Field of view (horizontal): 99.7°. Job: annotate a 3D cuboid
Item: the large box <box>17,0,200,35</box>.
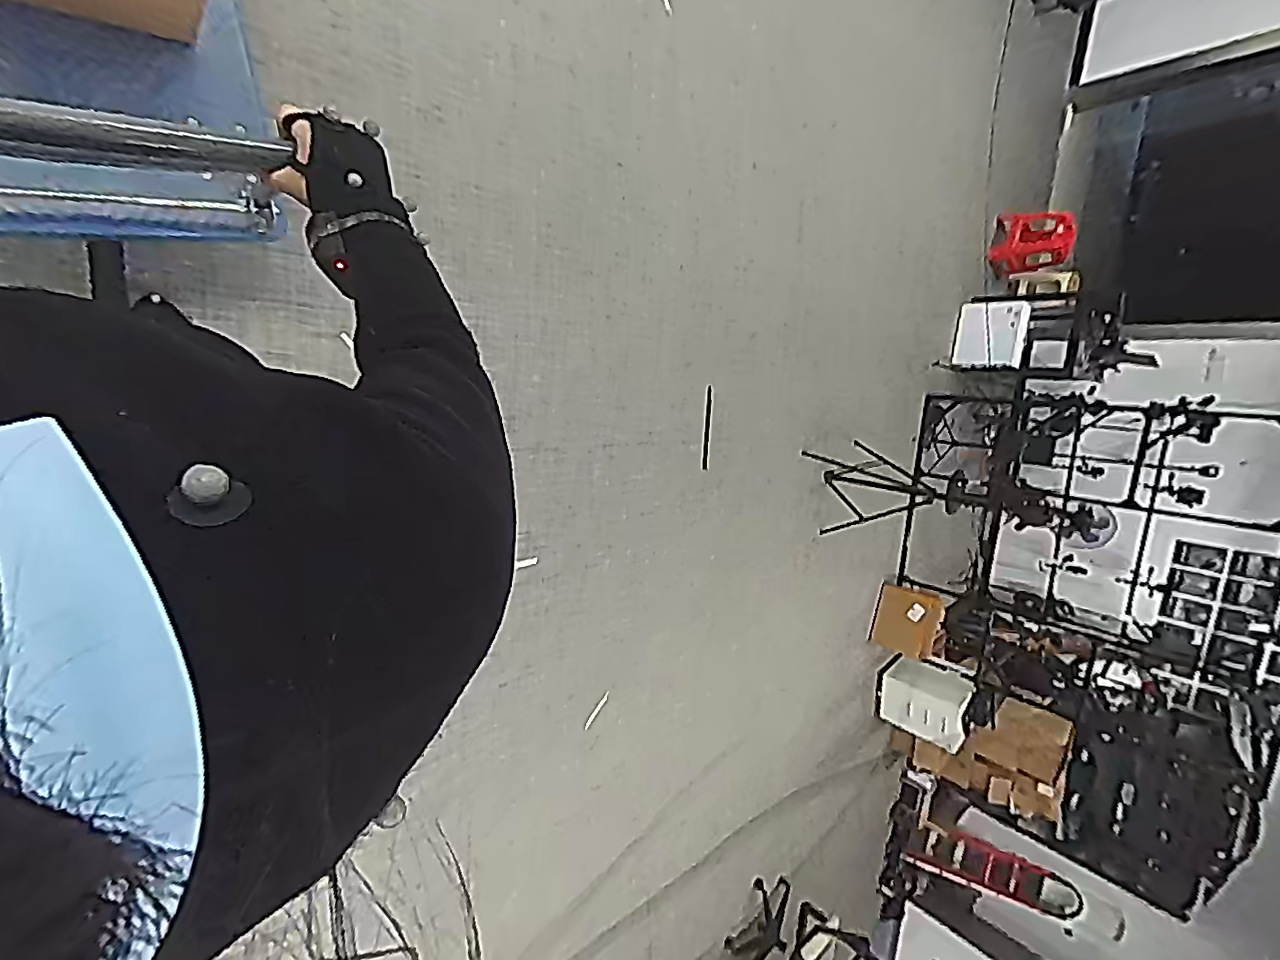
[{"bbox_3d":[-0.843,-0.841,0.675,0.408,0.320,0.320,-18,112,-39],"label":"large box"}]
